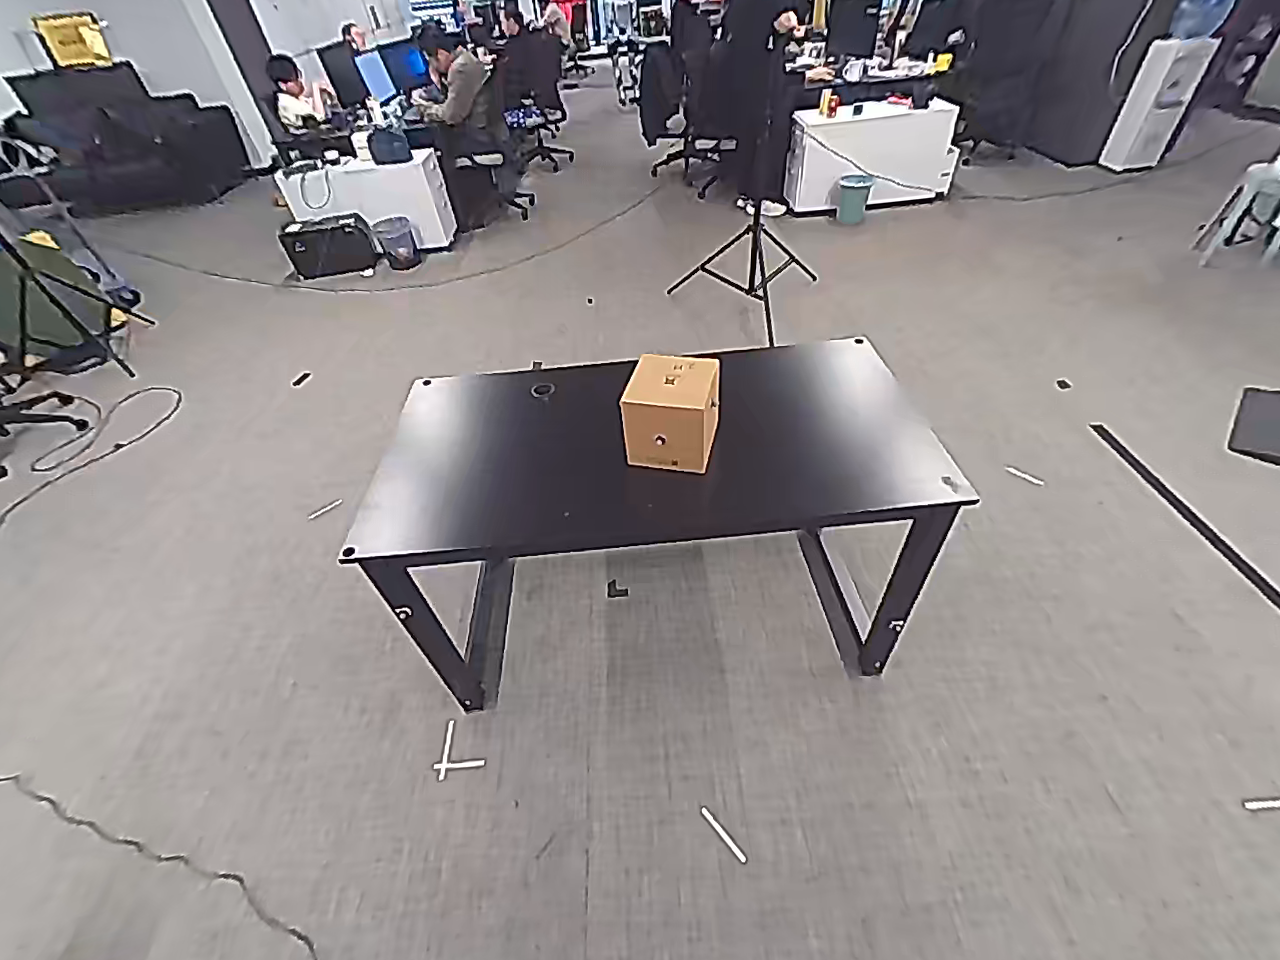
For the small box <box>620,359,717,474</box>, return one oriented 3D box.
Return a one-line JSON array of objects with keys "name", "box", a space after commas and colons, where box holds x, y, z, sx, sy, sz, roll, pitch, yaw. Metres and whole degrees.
[{"name": "small box", "box": [0.067, -0.133, 1.141, 0.168, 0.176, 0.179, 8, 45, 14]}]
